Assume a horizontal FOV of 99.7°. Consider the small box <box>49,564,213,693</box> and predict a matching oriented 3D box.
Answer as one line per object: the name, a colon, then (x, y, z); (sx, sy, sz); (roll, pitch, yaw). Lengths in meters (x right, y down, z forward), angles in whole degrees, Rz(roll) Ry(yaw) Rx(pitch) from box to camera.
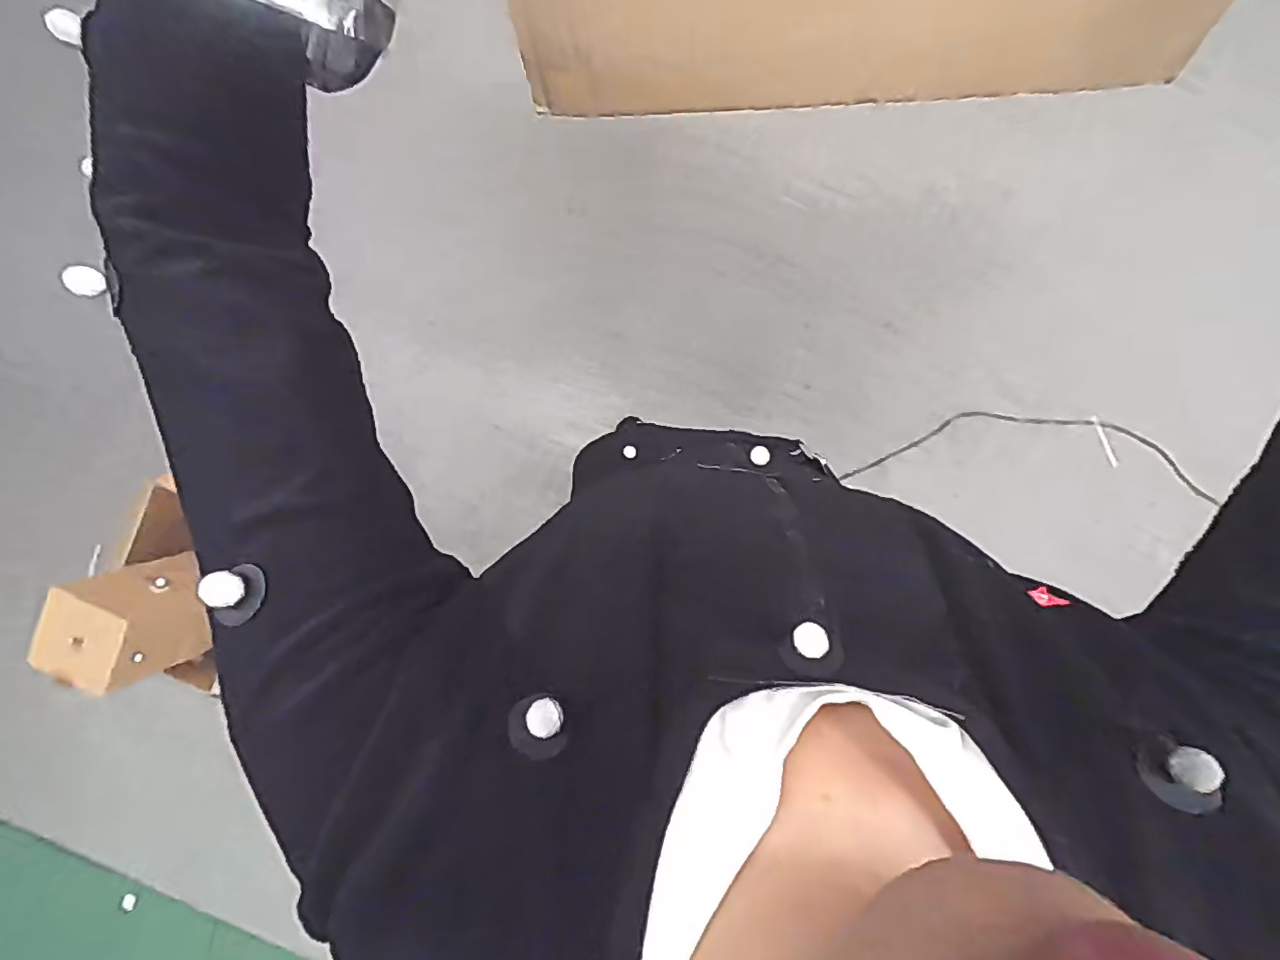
small box: (-1.049, 0.301, 1.129); (0.168, 0.176, 0.179); (24, 97, 0)
